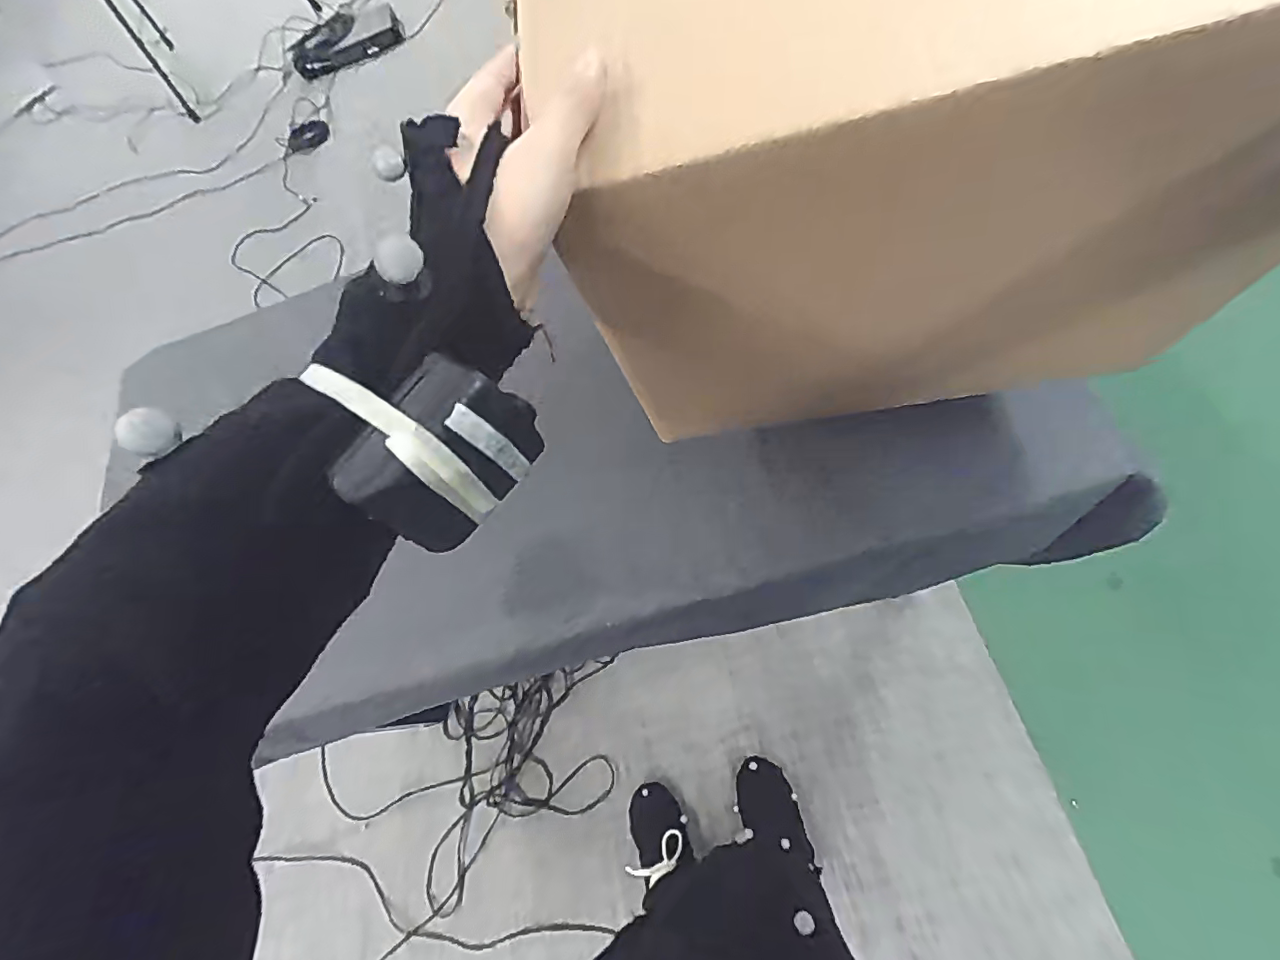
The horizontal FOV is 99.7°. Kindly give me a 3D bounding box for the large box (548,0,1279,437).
[{"bbox_3d":[0.172,-0.253,0.393,0.408,0.320,0.320,-8,72,10],"label":"large box"}]
